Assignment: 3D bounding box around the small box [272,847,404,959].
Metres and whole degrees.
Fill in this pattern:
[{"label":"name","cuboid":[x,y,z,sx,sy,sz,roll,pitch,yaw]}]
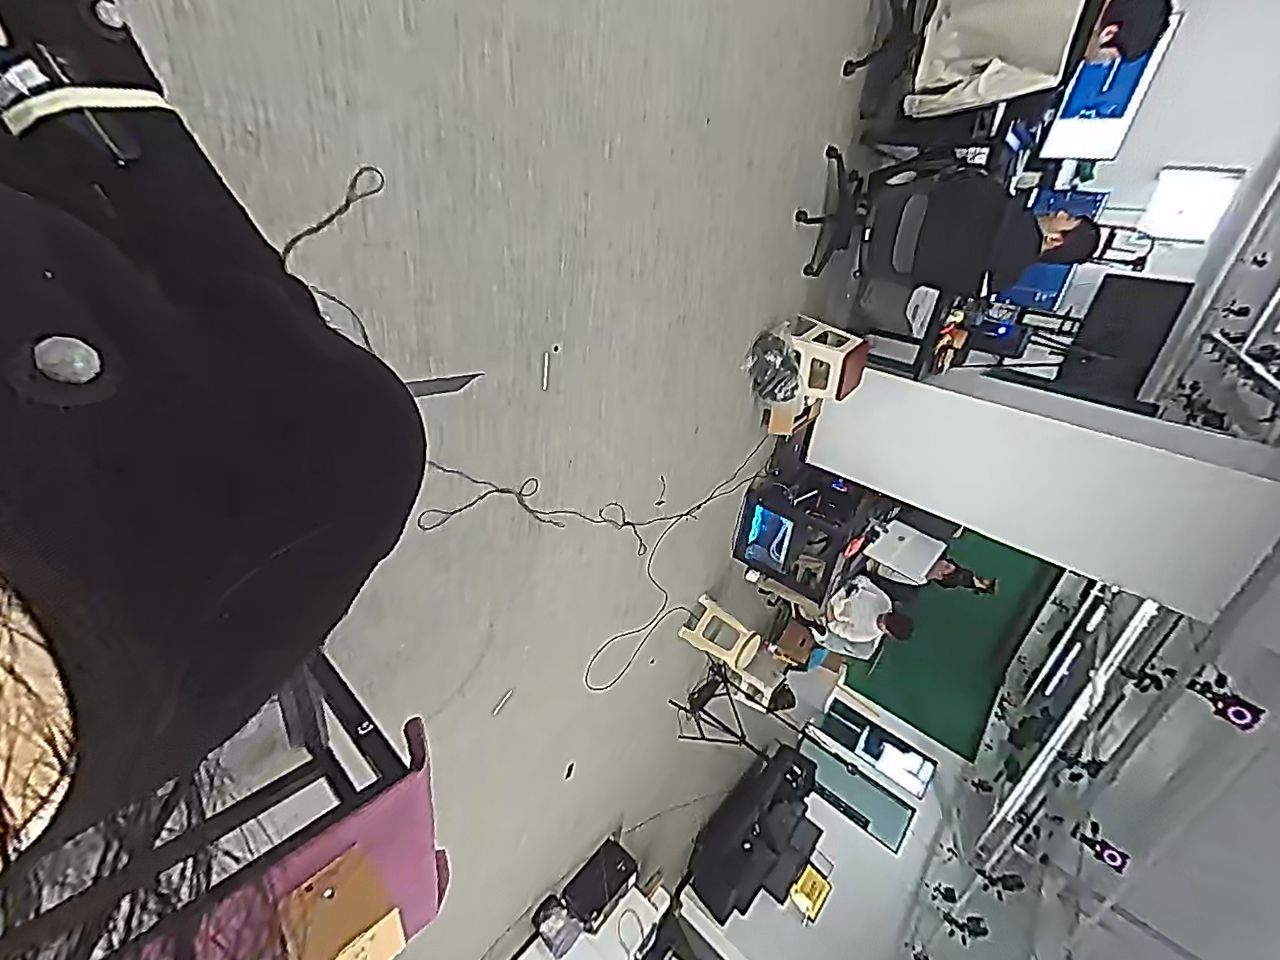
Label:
[{"label":"small box","cuboid":[-0.598,0.887,1.077,0.168,0.176,0.179,-25,132,-44]}]
